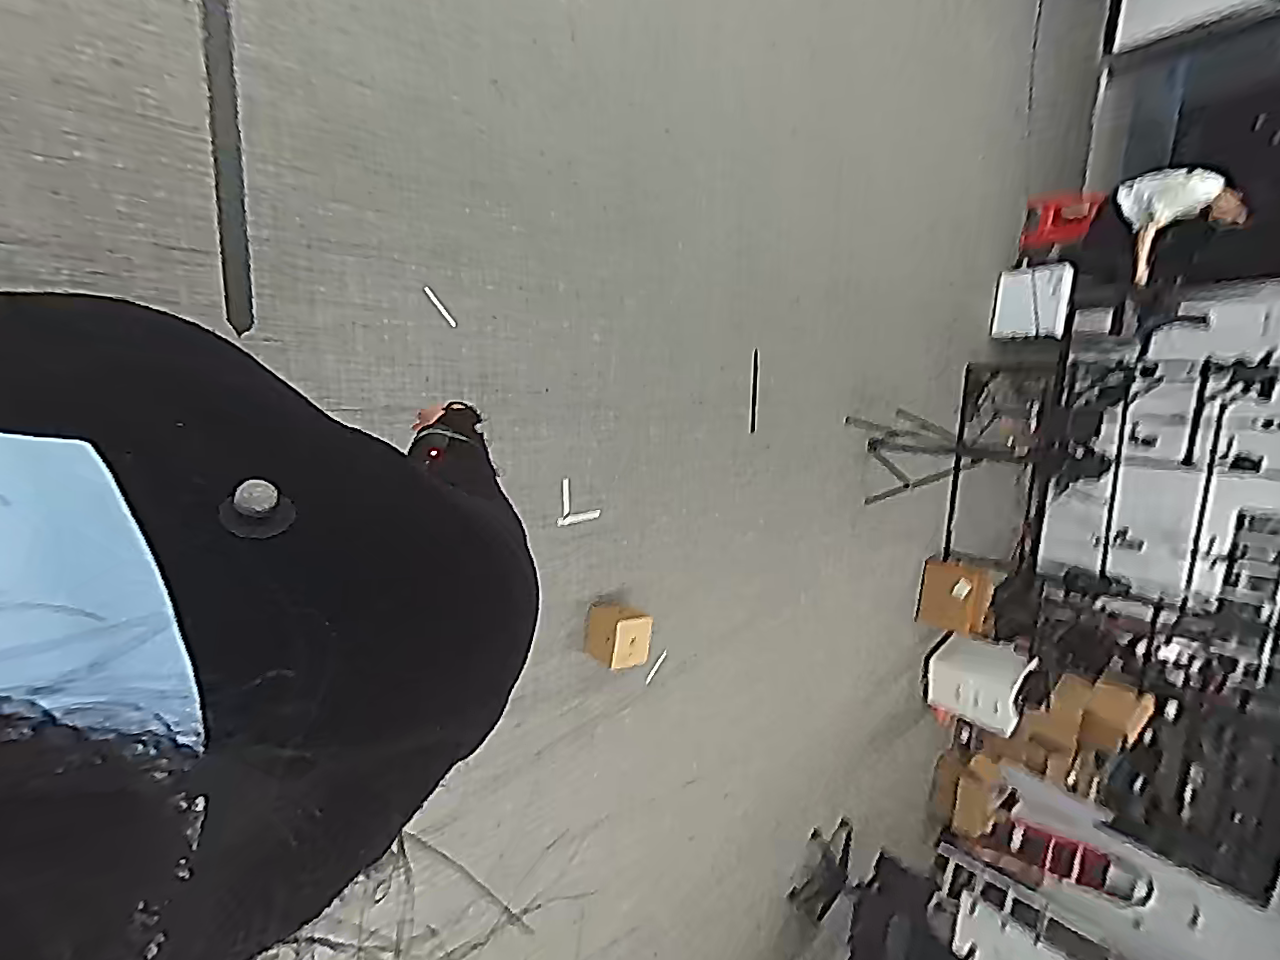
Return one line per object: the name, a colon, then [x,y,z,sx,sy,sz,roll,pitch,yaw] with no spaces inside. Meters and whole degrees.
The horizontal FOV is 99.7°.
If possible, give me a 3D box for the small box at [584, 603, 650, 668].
small box: [-0.087,0.554,1.960,0.168,0.176,0.179,5,95,-41]
